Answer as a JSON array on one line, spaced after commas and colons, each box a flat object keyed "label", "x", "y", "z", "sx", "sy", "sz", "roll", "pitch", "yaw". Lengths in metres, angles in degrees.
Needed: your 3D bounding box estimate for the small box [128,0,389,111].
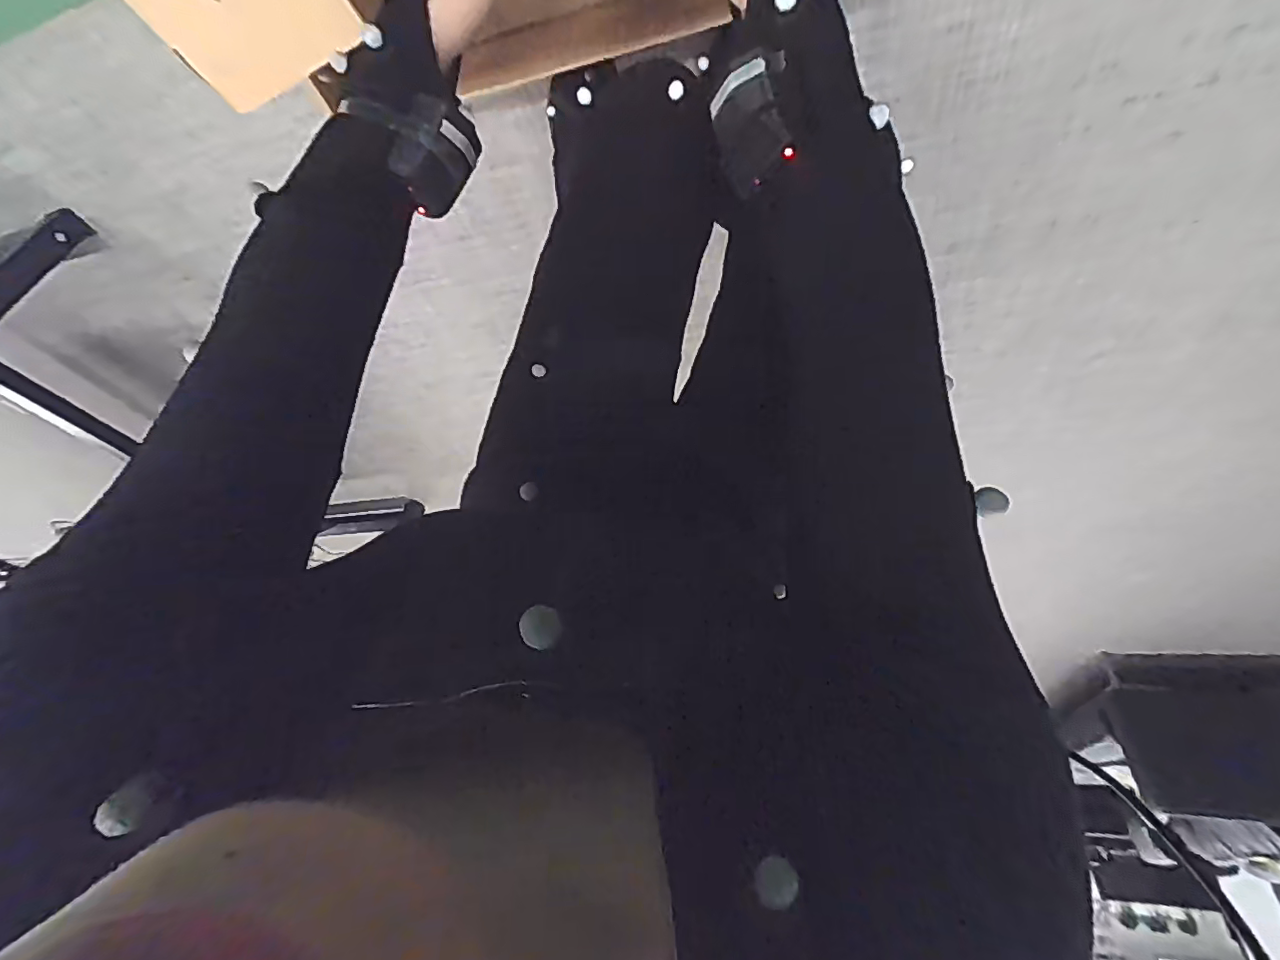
[{"label": "small box", "x": -0.328, "y": -0.465, "z": 0.456, "sx": 0.179, "sy": 0.176, "sz": 0.168, "roll": -11, "pitch": 146, "yaw": 19}]
